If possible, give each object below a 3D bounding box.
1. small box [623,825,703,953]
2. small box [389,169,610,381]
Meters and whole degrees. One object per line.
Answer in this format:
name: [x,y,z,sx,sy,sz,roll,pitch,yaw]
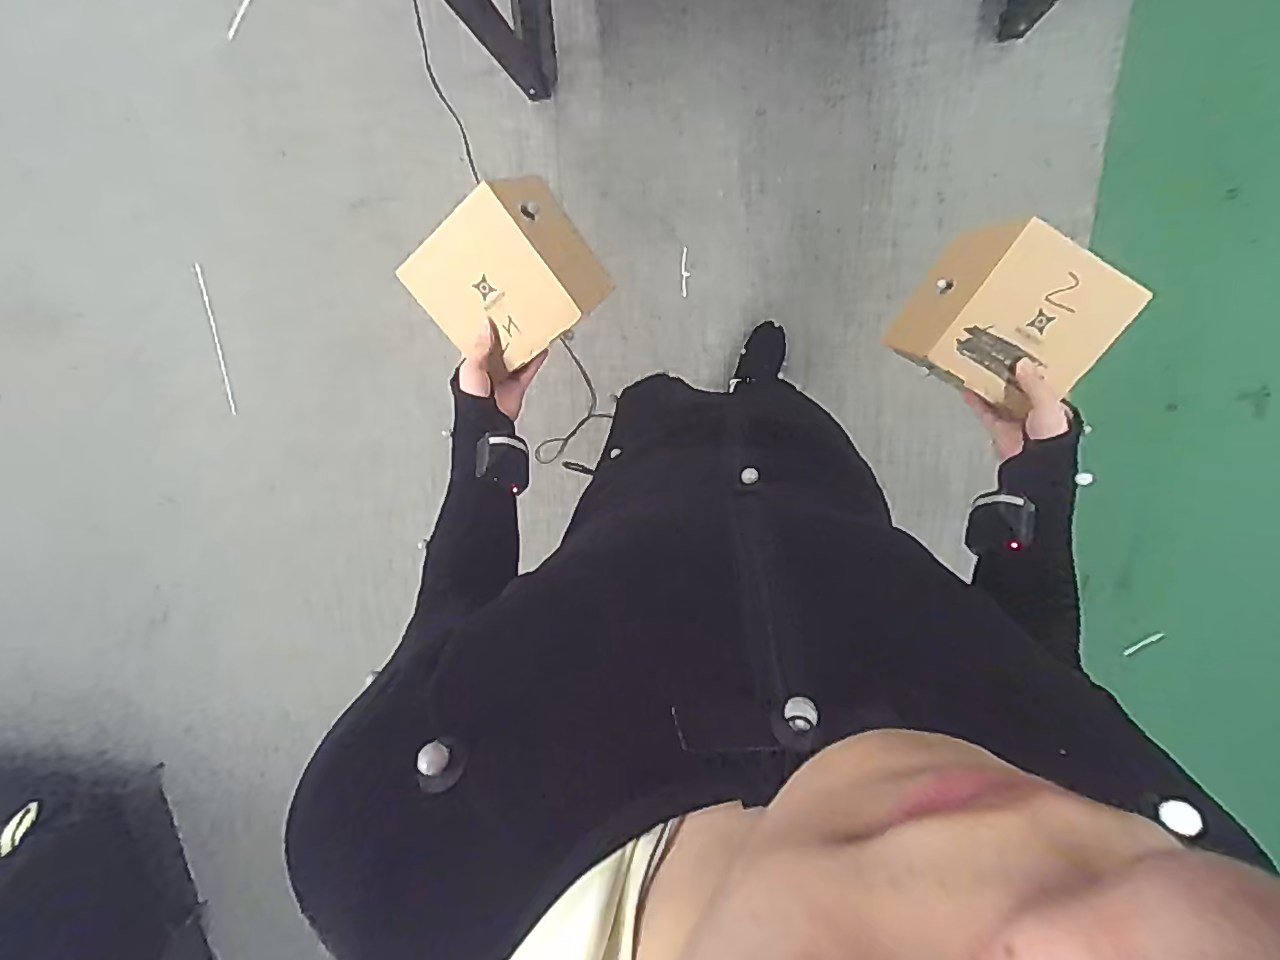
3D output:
small box: [0.060,0.987,1.319,0.168,0.176,0.179,9,107,7]
small box: [-0.163,-0.261,0.683,0.168,0.176,0.179,-27,112,27]
